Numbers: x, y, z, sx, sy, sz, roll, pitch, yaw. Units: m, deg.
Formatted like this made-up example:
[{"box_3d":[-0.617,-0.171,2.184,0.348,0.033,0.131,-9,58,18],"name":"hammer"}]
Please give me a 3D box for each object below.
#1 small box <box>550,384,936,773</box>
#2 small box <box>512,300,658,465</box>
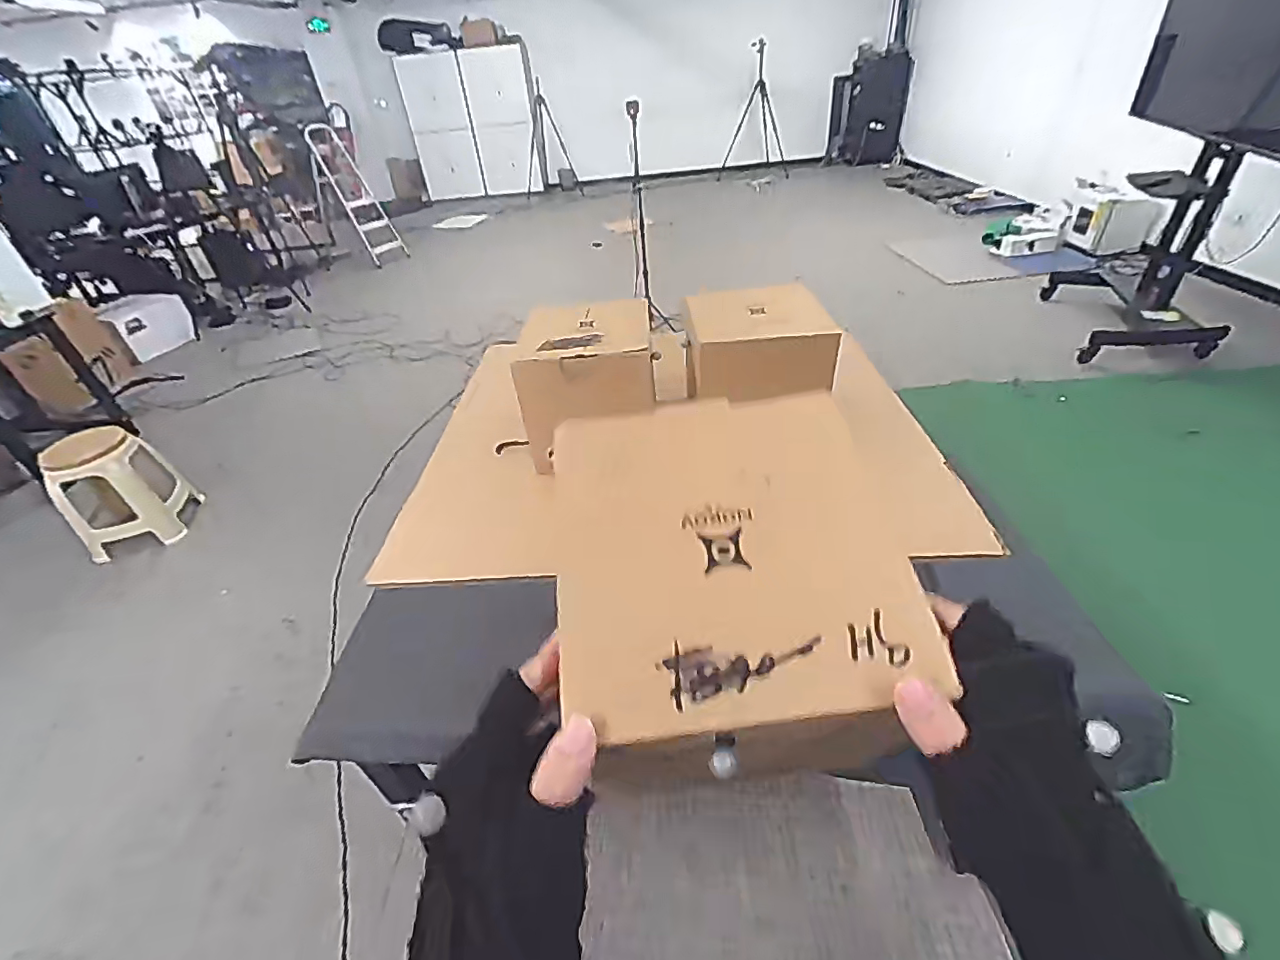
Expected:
[{"box_3d":[0.041,0.066,0.339,0.168,0.176,0.179,-7,54,0],"name":"small box"},{"box_3d":[-0.062,-0.129,0.746,0.168,0.176,0.179,-4,38,4],"name":"small box"}]
